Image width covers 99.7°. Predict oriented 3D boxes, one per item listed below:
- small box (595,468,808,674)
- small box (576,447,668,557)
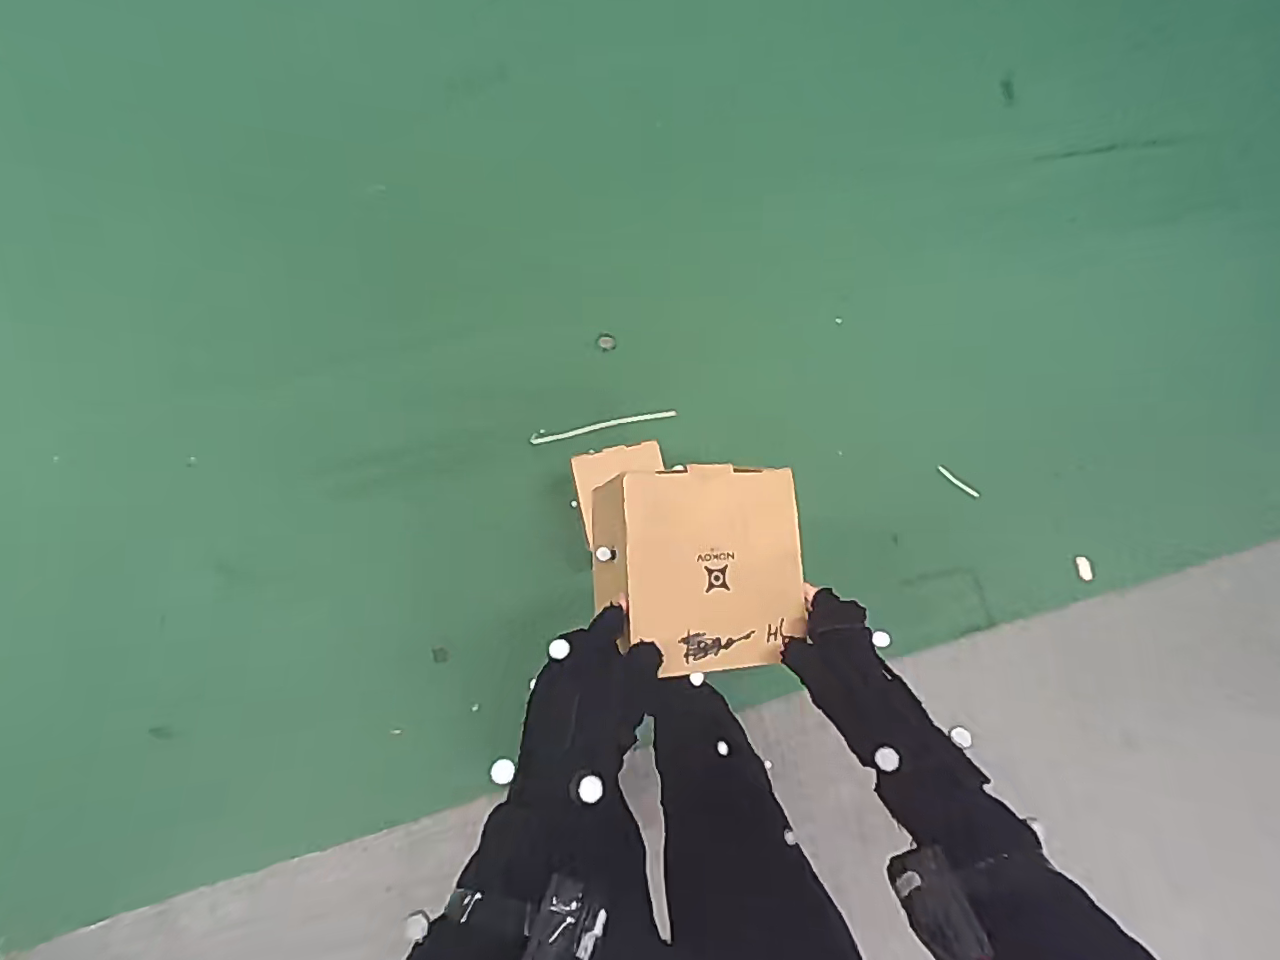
[{"bbox_3d":[0.049,0.088,0.559,0.168,0.176,0.179,-1,82,-15],"label":"small box"},{"bbox_3d":[-0.030,0.047,1.037,0.168,0.176,0.179,-10,85,-7],"label":"small box"}]
